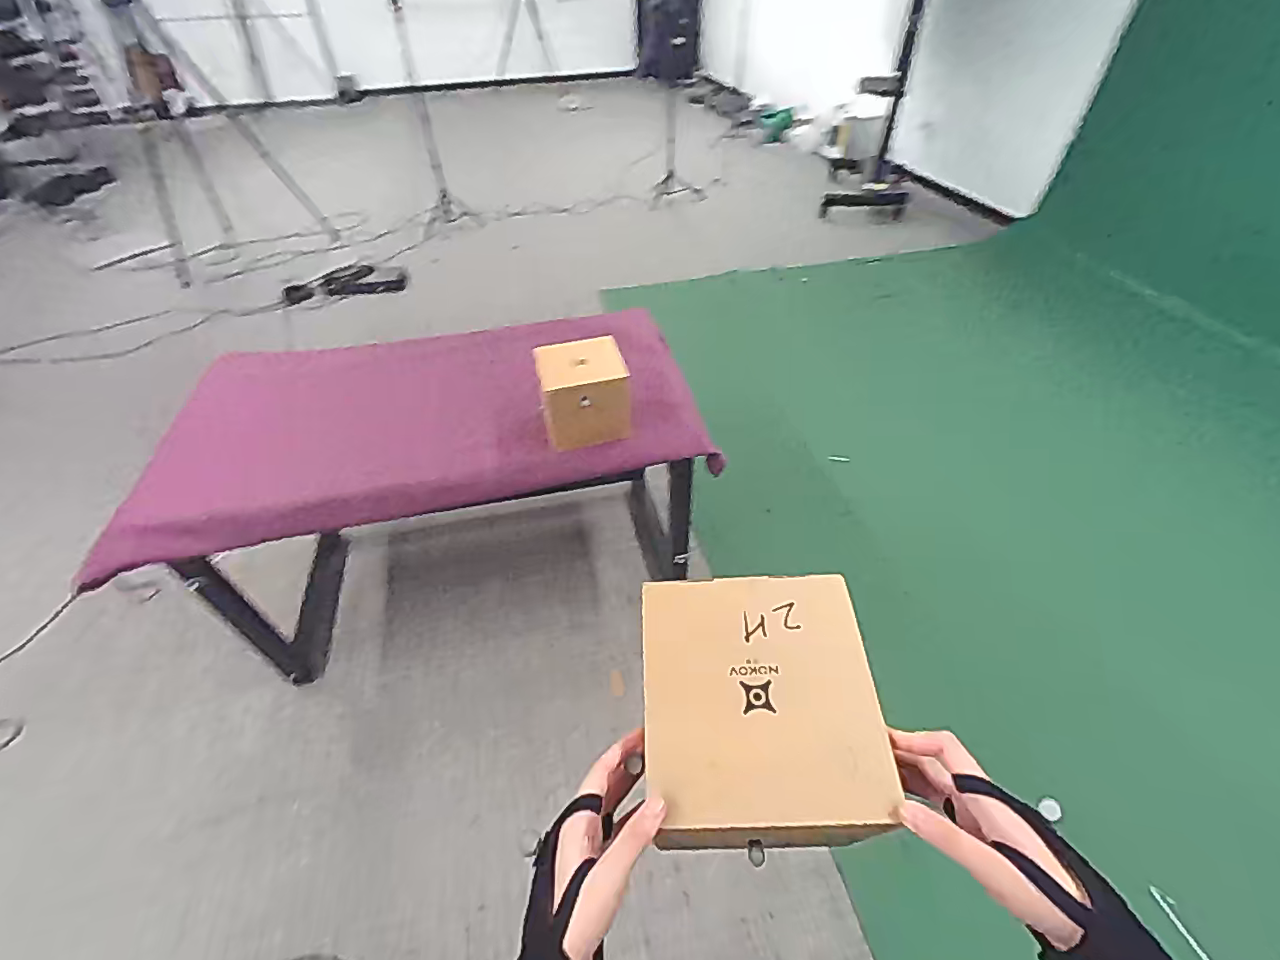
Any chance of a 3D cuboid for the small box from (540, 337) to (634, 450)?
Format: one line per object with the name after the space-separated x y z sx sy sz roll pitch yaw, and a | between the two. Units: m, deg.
-0.114 -0.190 1.197 0.179 0.176 0.168 -13 47 -8 | small box
